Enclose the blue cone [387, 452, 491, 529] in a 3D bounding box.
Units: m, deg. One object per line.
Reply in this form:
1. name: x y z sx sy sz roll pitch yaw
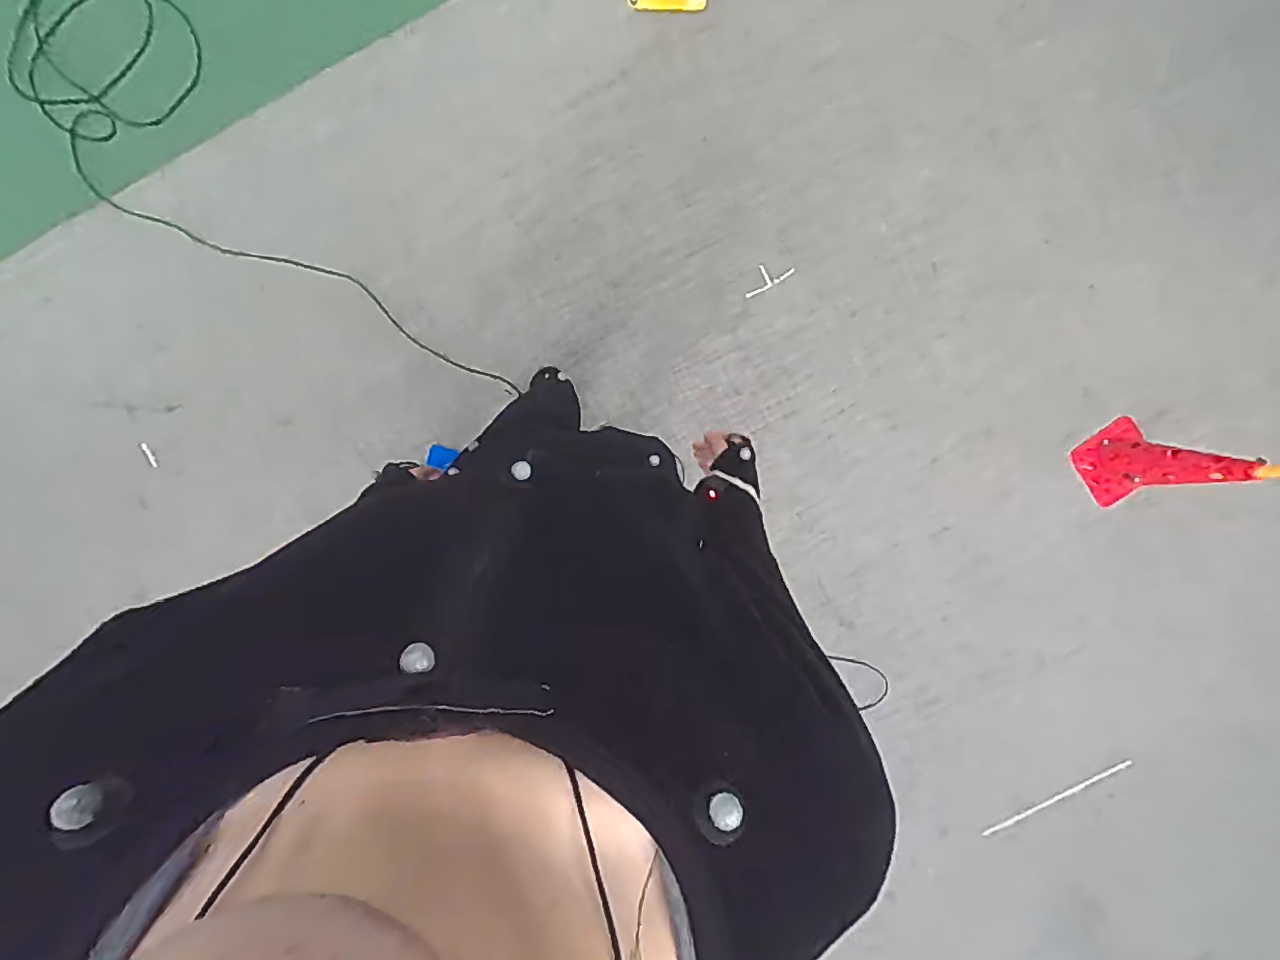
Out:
1. blue cone: -0.503 0.056 1.303 0.192 0.380 0.193 16 98 -4
